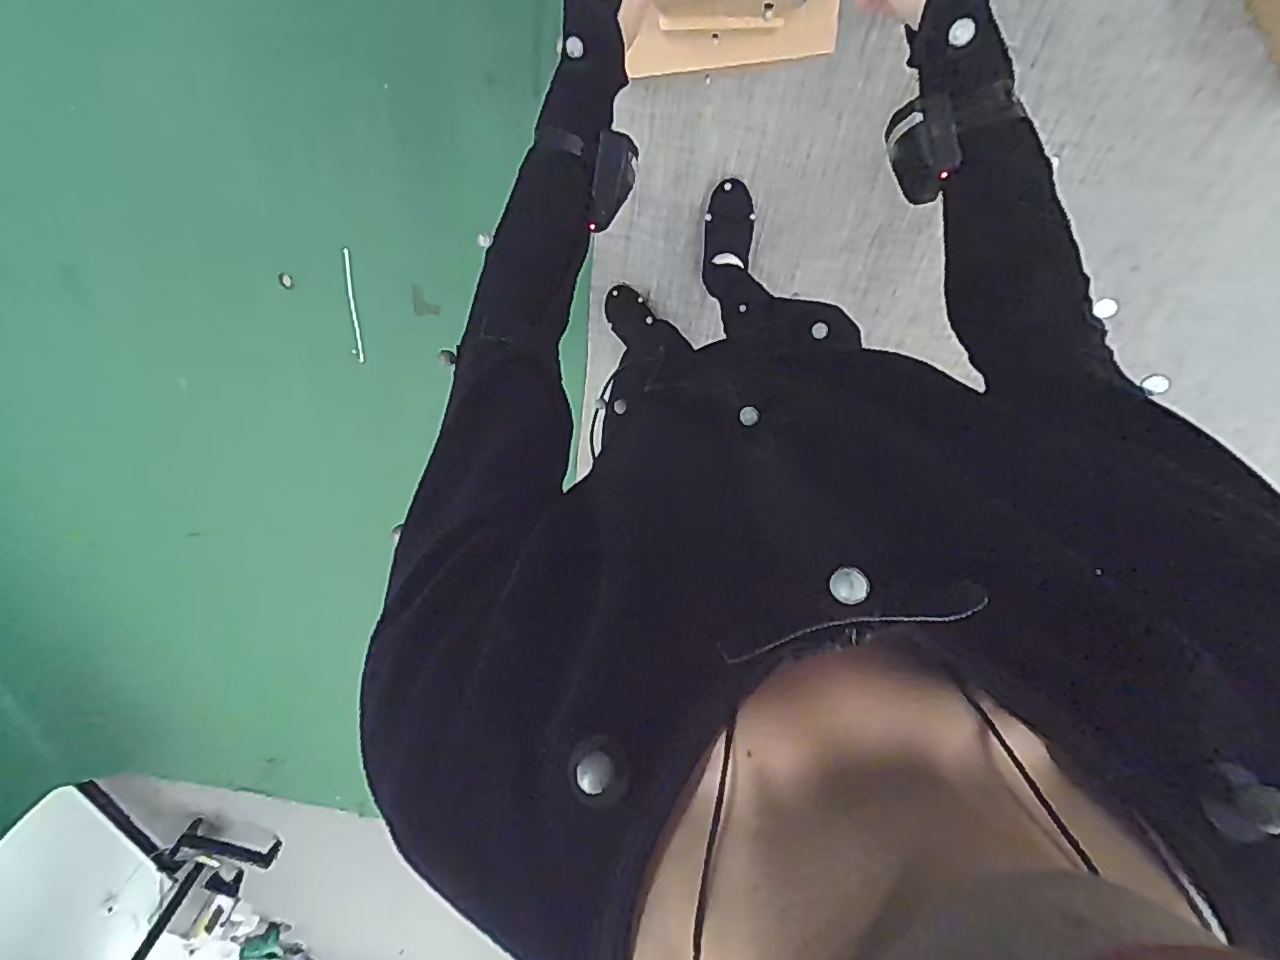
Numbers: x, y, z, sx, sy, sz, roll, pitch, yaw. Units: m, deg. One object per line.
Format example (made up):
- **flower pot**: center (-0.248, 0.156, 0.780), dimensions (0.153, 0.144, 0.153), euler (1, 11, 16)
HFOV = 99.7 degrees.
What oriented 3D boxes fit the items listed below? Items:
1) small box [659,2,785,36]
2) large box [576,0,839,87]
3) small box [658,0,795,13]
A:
- **small box**: center (0.114, -0.709, 0.719), dimensions (0.168, 0.176, 0.179), euler (3, 125, 4)
- **large box**: center (0.111, -0.874, 0.906), dimensions (0.408, 0.320, 0.320), euler (-1, 124, 9)
- **small box**: center (0.102, -0.621, 0.583), dimensions (0.179, 0.176, 0.168), euler (4, 126, 4)
